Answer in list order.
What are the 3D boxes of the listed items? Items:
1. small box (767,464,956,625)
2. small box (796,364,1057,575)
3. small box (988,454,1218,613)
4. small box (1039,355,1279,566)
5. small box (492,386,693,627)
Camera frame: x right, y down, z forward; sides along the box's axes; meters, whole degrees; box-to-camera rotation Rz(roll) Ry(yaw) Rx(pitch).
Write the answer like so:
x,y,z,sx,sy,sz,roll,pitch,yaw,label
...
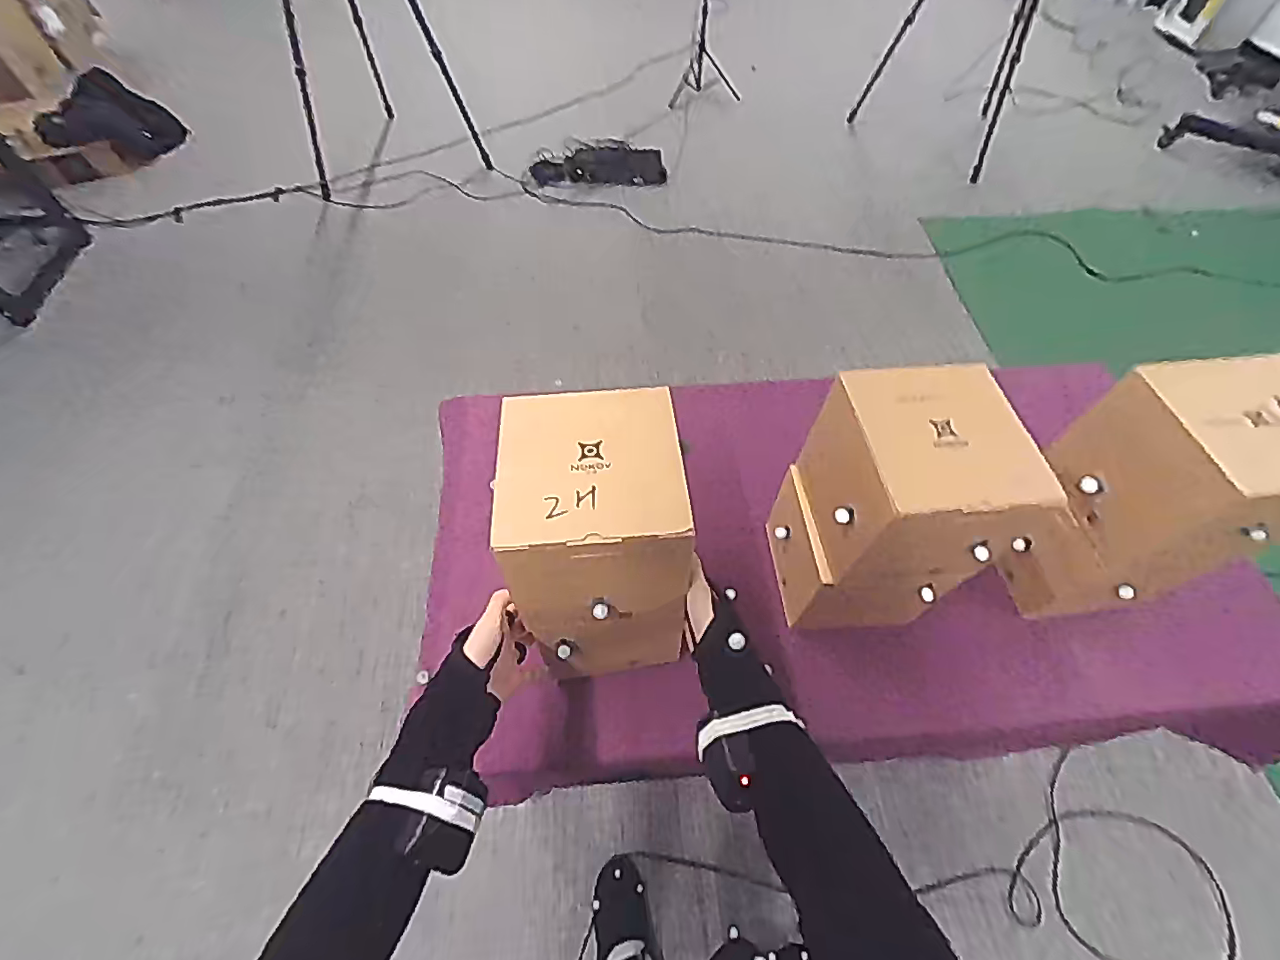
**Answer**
x,y,z,sx,sy,sz,roll,pitch,yaw,label
0.280,0.088,0.731,0.179,0.176,0.168,-3,56,-3,small box
0.289,-0.004,0.596,0.168,0.176,0.179,-3,56,-5,small box
0.606,0.072,0.742,0.179,0.176,0.168,-6,56,-4,small box
0.608,-0.017,0.604,0.179,0.176,0.168,-5,56,-4,small box
-0.044,0.028,0.548,0.168,0.176,0.179,-5,52,-3,small box
